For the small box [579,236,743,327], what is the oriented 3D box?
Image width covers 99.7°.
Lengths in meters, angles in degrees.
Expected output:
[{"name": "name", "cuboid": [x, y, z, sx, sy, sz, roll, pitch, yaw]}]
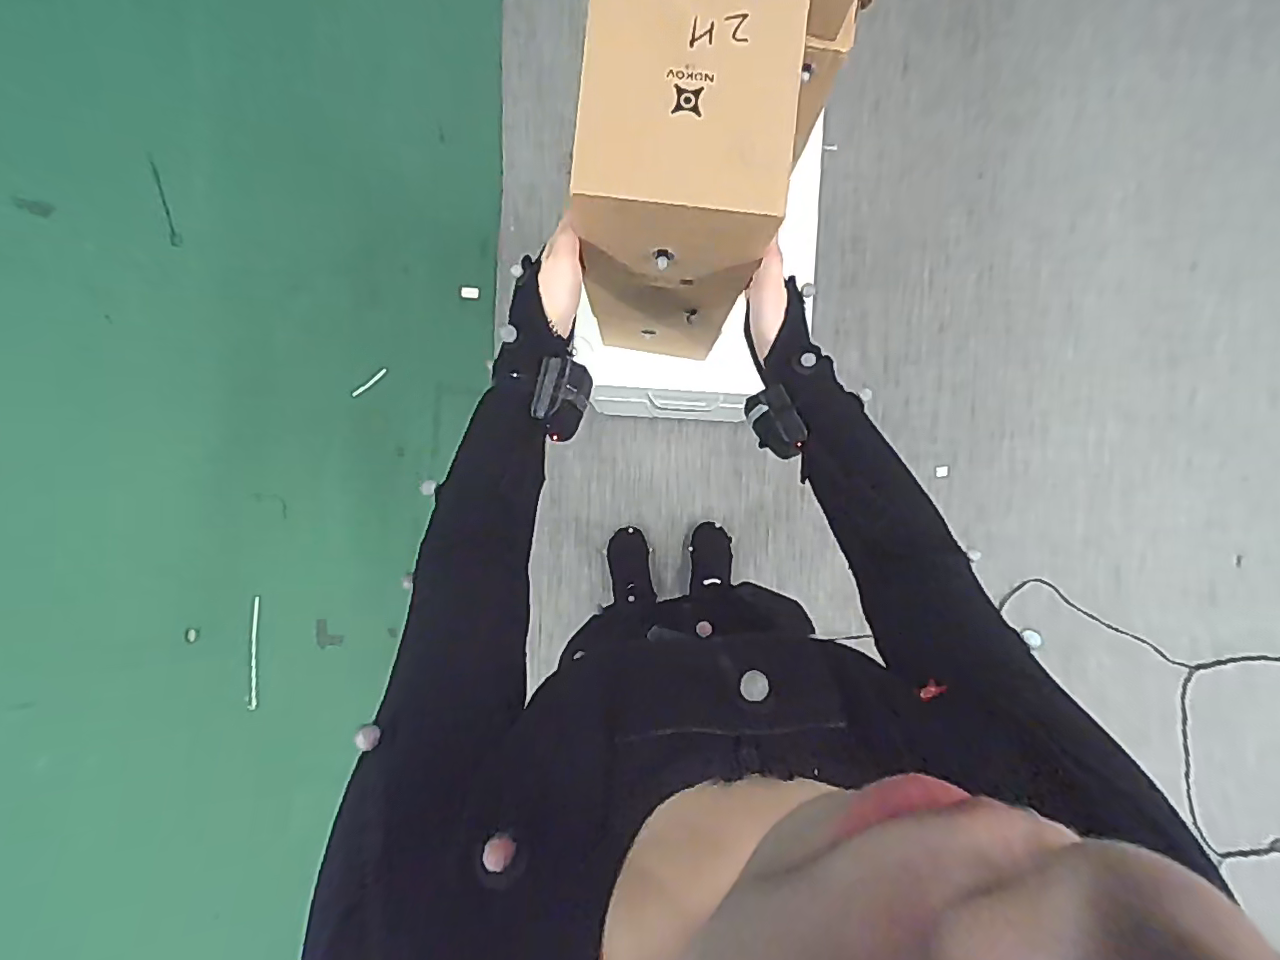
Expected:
[{"name": "small box", "cuboid": [0.033, -0.295, 0.651, 0.179, 0.176, 0.168, 8, 89, 1]}]

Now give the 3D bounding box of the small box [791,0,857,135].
[{"name": "small box", "cuboid": [0.150, -0.551, 0.649, 0.179, 0.176, 0.168, 10, 91, -1]}]

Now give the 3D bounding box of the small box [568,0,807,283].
[{"name": "small box", "cuboid": [0.035, -0.296, 0.485, 0.168, 0.176, 0.179, 6, 89, -1]}]

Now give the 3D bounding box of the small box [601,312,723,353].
[{"name": "small box", "cuboid": [0.037, -0.299, 0.814, 0.179, 0.176, 0.168, 9, 90, -1]}]
